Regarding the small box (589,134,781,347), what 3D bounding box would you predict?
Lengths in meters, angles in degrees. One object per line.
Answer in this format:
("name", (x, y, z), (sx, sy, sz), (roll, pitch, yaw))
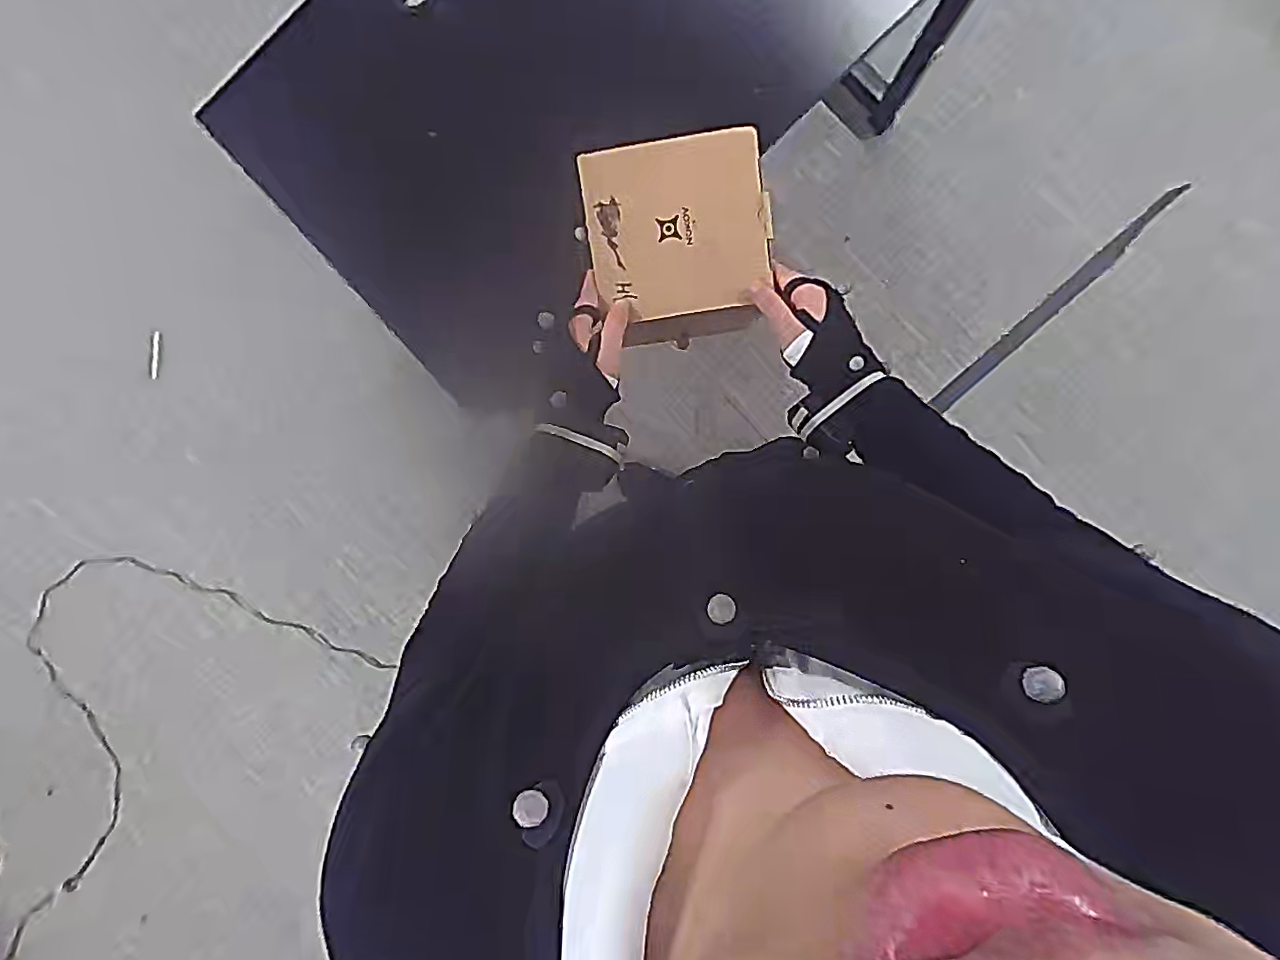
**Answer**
("small box", (0.043, -0.251, 0.607), (0.179, 0.176, 0.168), (-7, 95, 0))
